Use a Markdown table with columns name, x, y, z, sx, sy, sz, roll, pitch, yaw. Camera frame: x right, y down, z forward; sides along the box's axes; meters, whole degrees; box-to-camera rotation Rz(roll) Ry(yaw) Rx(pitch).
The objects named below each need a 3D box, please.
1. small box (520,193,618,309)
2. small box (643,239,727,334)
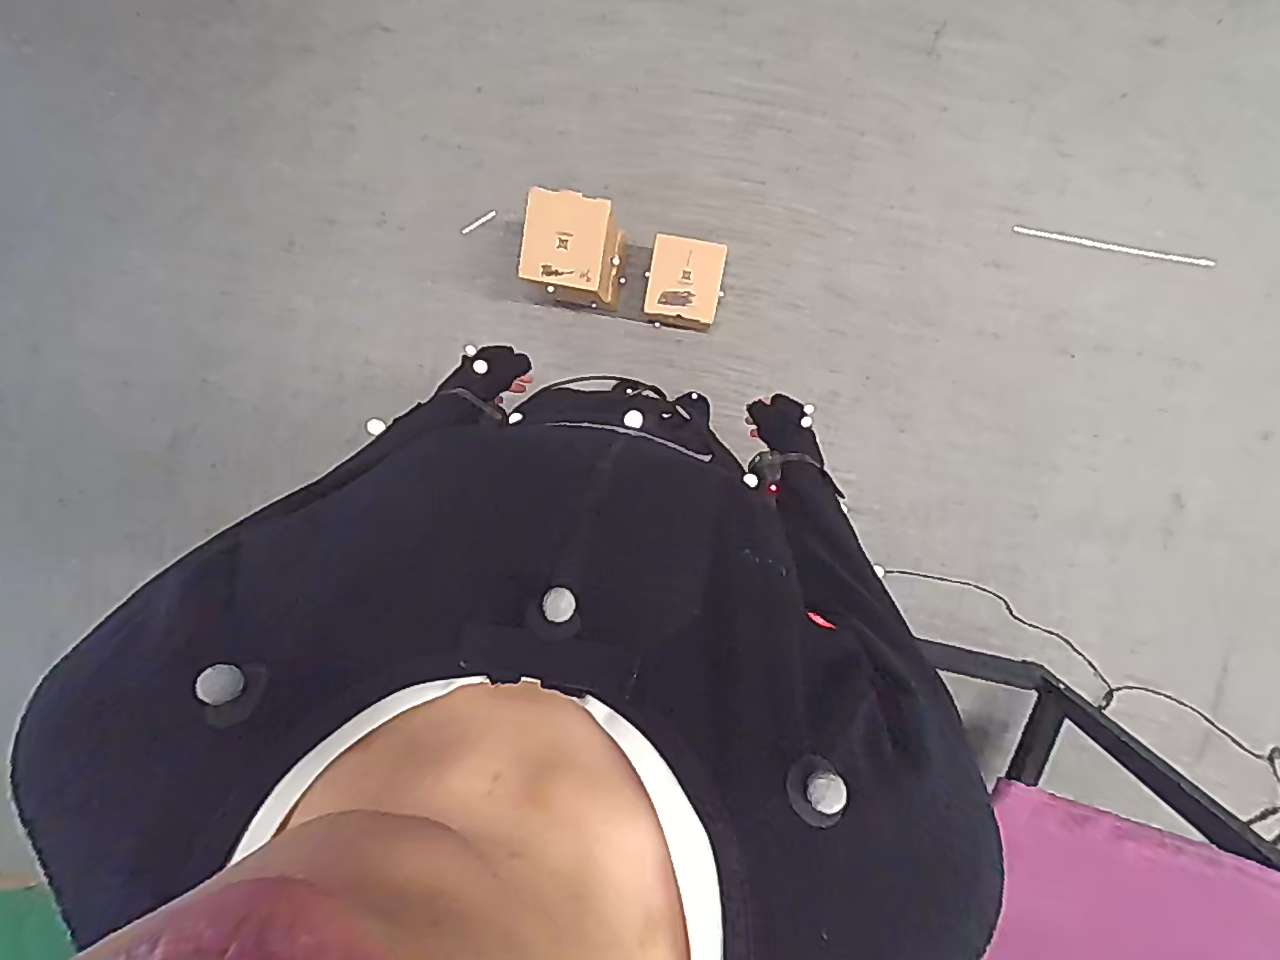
| name | x | y | z | sx | sy | sz | roll | pitch | yaw |
| --- | --- | --- | --- | --- | --- | --- | --- | --- | --- |
| small box | -0.144 | -0.479 | 1.154 | 0.168 | 0.176 | 0.179 | 11 | 99 | 2 |
| small box | 0.106 | -0.457 | 1.308 | 0.168 | 0.176 | 0.179 | 10 | 99 | 1 |
